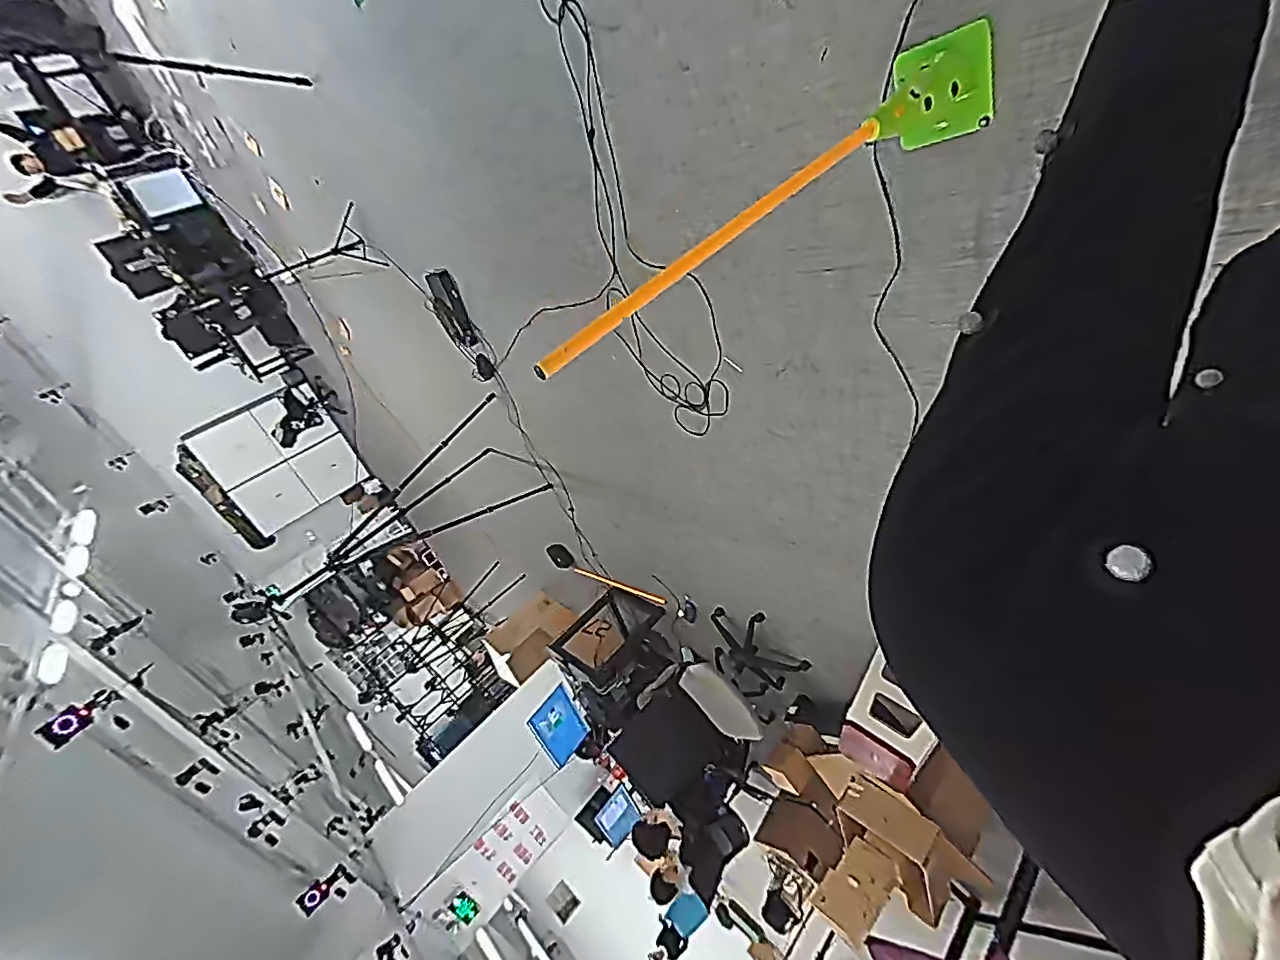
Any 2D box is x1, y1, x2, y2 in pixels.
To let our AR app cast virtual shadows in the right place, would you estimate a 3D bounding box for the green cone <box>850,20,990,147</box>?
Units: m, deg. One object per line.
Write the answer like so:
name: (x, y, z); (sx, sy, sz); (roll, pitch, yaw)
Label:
green cone: (0.558, -0.788, 1.141); (0.202, 0.368, 0.200); (14, 135, 49)
